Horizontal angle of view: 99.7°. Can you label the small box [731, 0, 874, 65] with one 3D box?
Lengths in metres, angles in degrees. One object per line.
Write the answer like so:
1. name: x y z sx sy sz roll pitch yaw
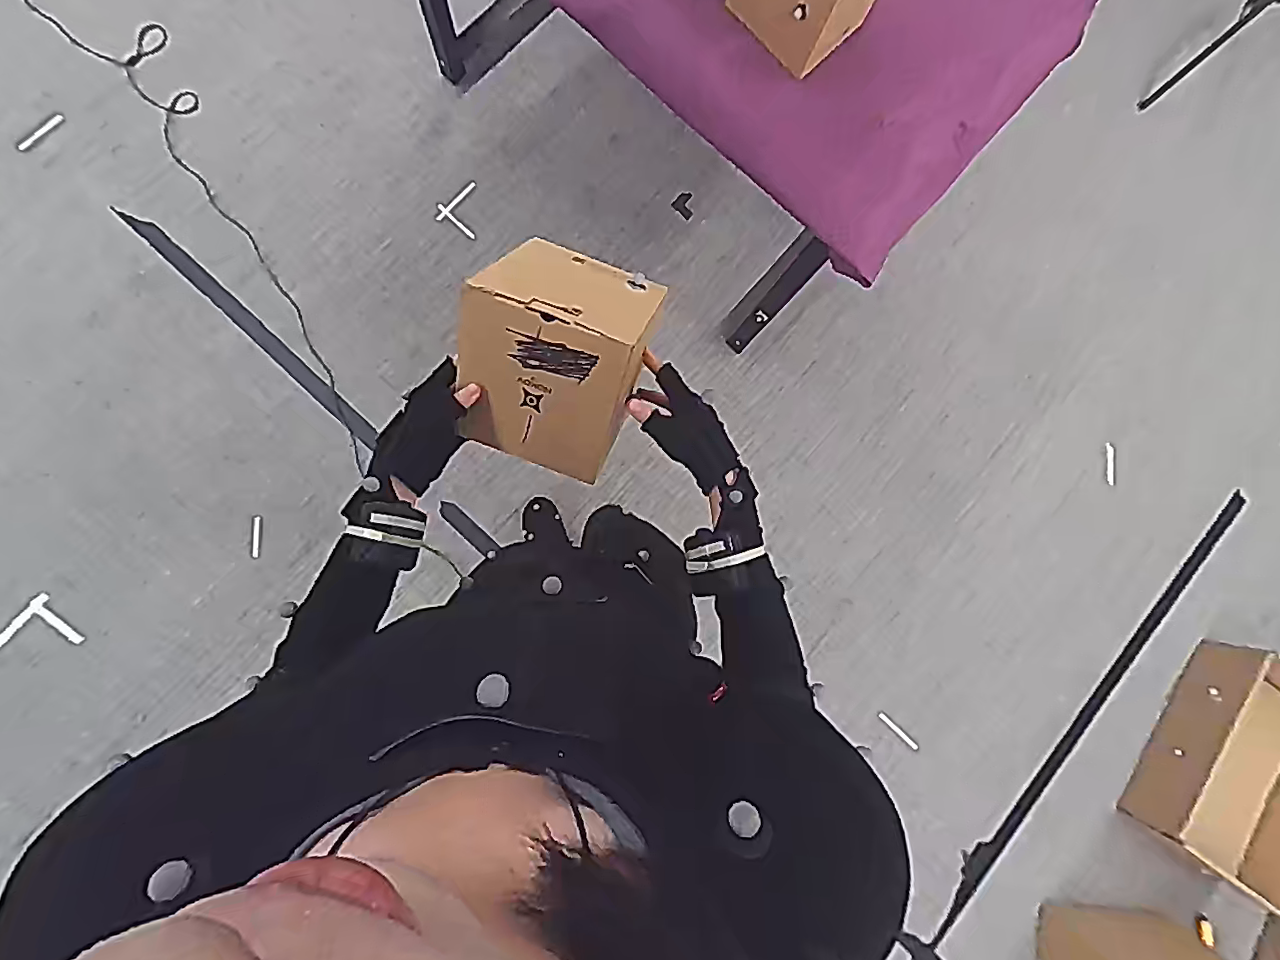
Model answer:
1. small box: 0.267 -0.778 0.811 0.179 0.176 0.168 45 81 0
